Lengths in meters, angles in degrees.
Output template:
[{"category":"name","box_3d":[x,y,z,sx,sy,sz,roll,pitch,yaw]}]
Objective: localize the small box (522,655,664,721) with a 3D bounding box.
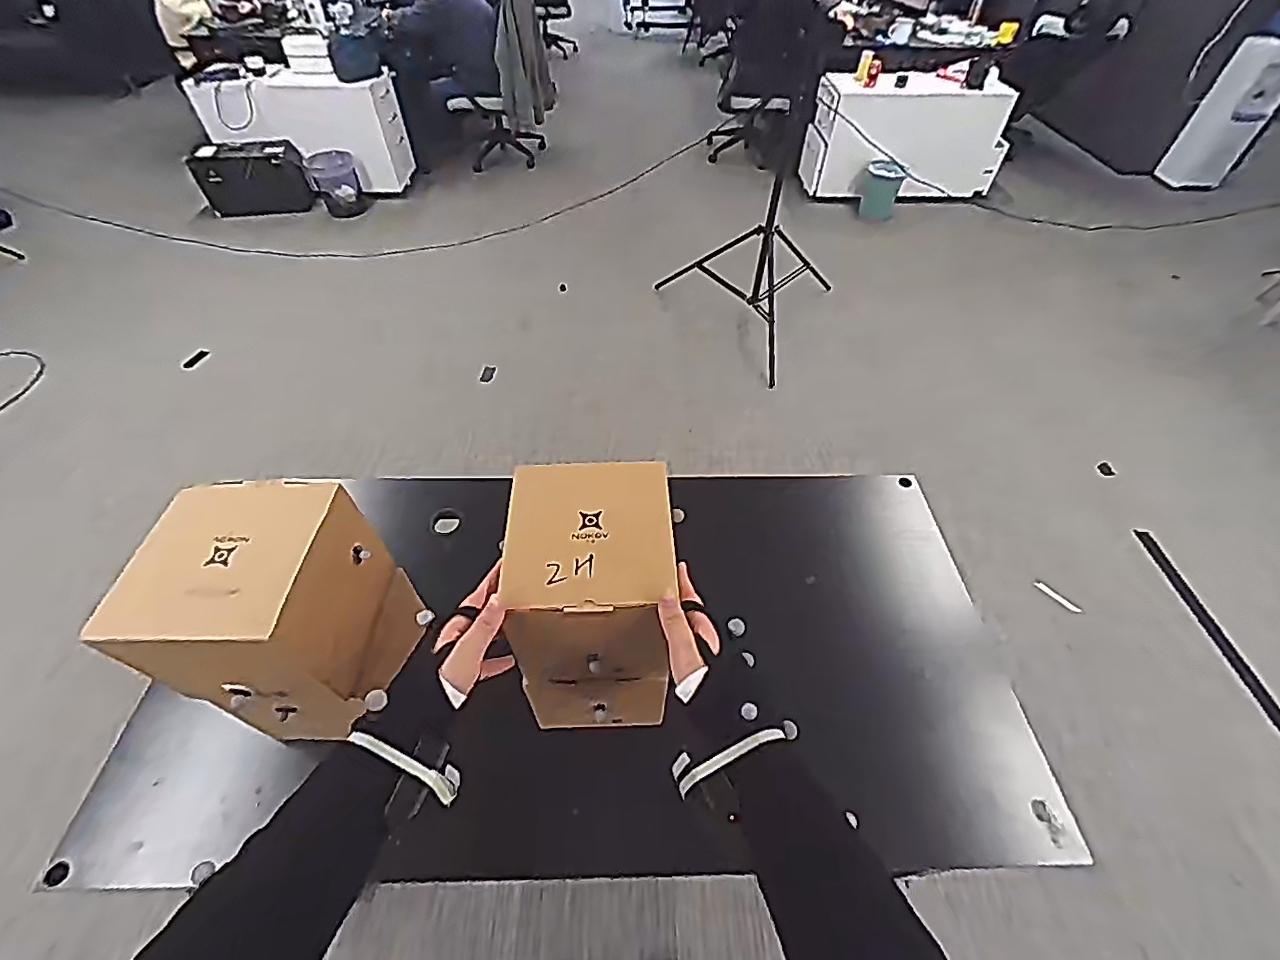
[{"category":"small box","box_3d":[-0.055,0.212,0.723,0.168,0.176,0.179,-2,49,-2]}]

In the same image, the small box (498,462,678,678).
[{"category":"small box","box_3d":[-0.050,0.100,0.601,0.168,0.176,0.179,-2,49,-2]}]

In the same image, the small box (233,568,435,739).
[{"category":"small box","box_3d":[-0.391,0.227,0.703,0.179,0.176,0.168,1,50,-1]}]

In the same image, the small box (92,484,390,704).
[{"category":"small box","box_3d":[-0.392,0.123,0.578,0.168,0.176,0.179,-1,50,0]}]
